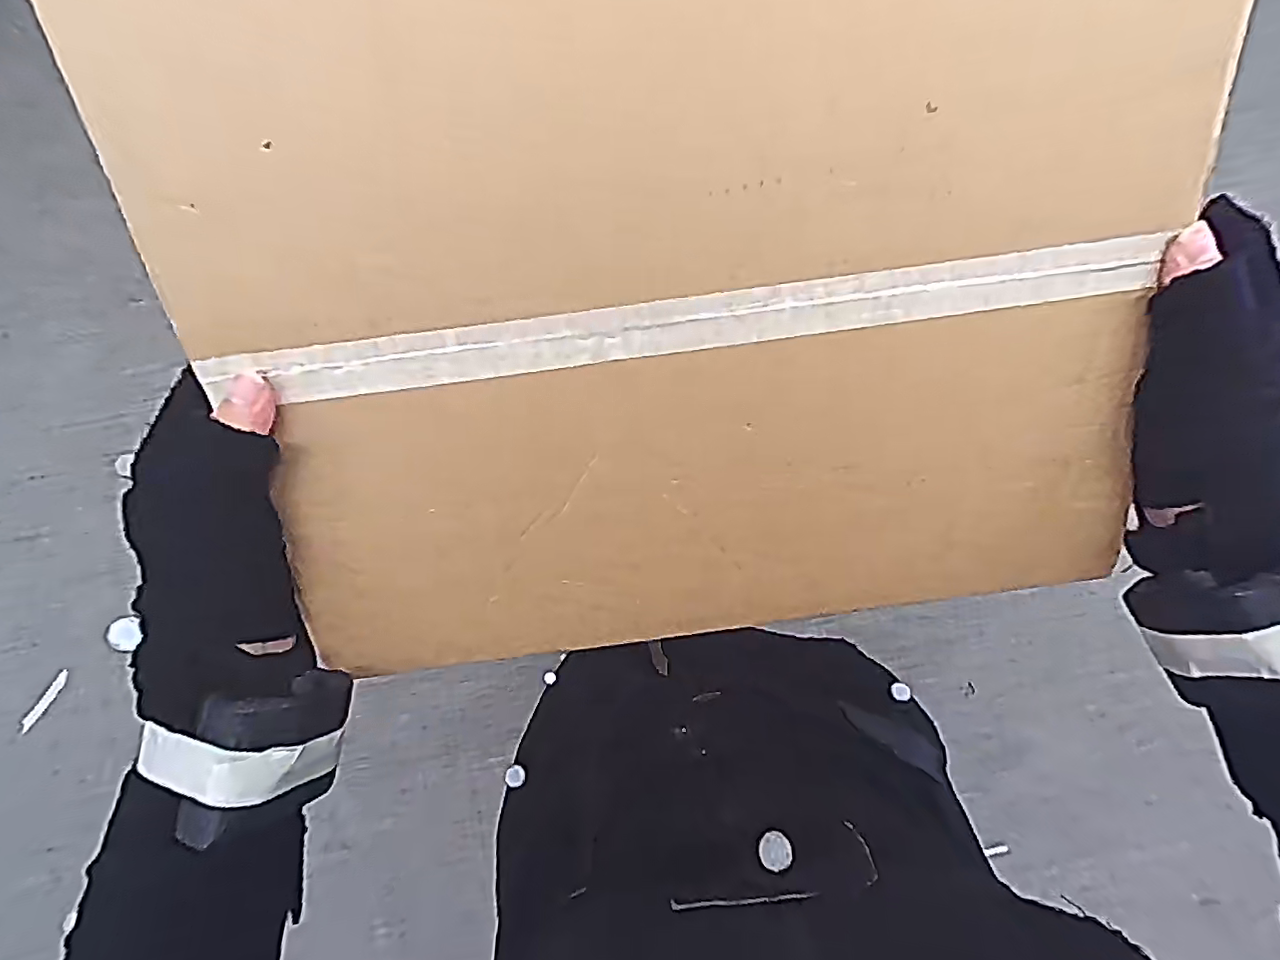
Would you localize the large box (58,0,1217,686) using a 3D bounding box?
[{"bbox_3d":[0.015,-0.114,0.371,0.408,0.320,0.320,-8,112,-1],"label":"large box"}]
